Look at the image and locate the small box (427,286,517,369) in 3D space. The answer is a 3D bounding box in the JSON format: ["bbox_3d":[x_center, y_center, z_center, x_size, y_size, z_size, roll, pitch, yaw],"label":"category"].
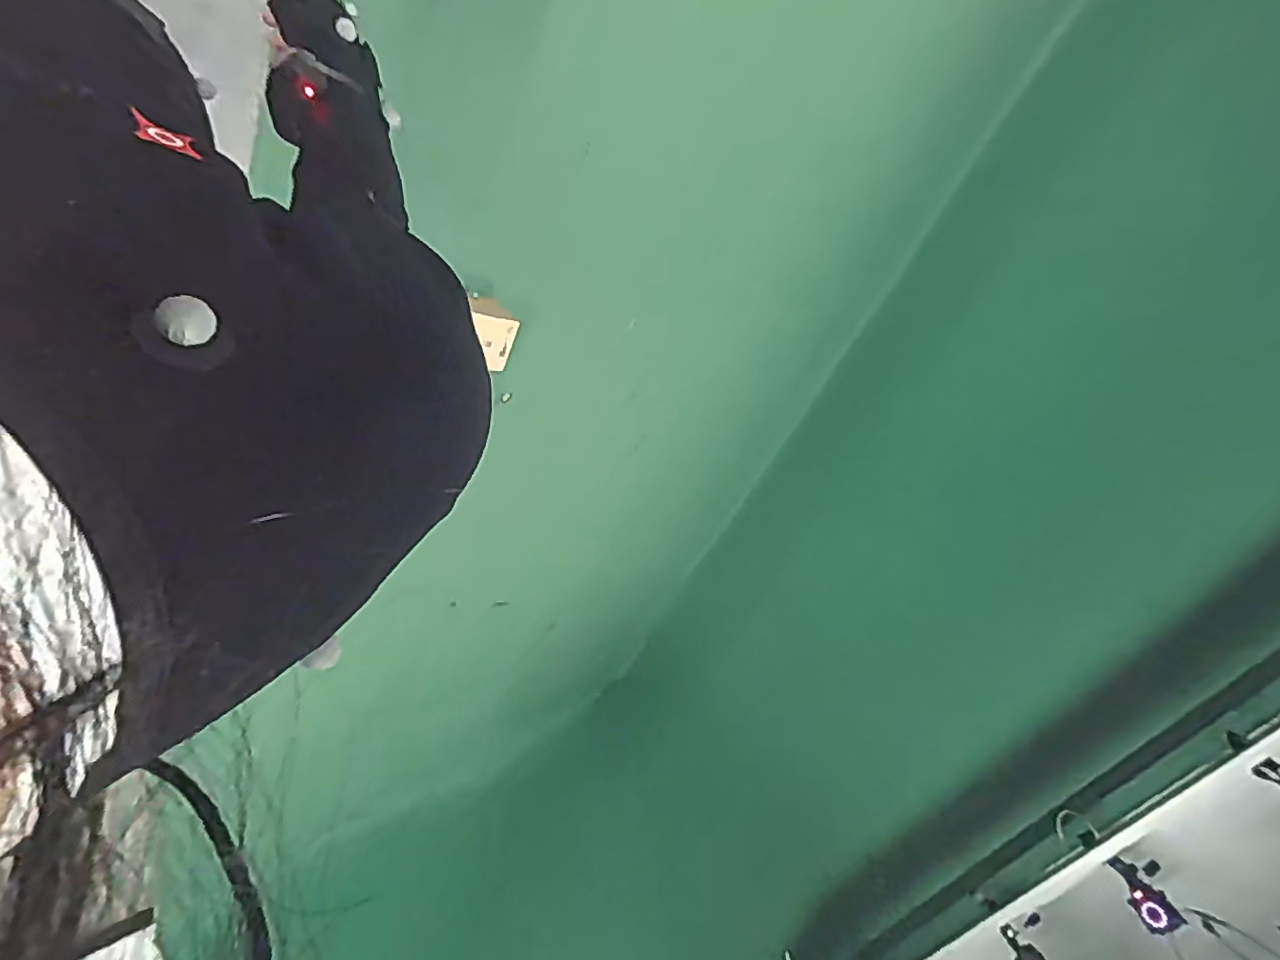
[{"bbox_3d":[-0.498,-0.450,1.588,0.179,0.176,0.168,-2,129,-48],"label":"small box"}]
